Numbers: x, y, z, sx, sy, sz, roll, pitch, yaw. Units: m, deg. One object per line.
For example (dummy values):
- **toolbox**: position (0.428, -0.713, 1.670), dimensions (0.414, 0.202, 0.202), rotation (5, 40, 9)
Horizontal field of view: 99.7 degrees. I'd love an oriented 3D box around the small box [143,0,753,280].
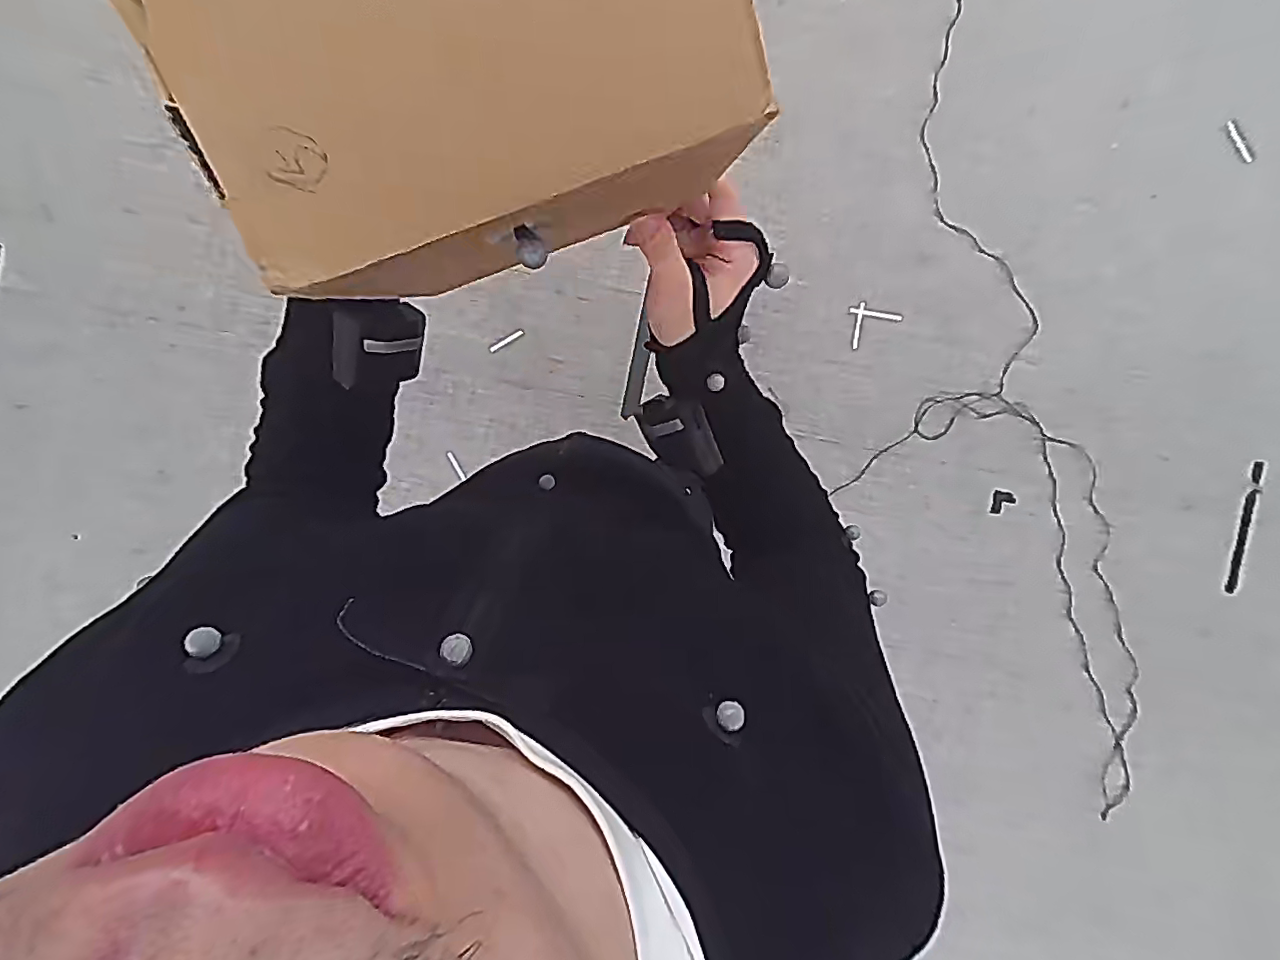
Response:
- **small box**: position (-0.070, -0.193, 0.234), dimensions (0.179, 0.176, 0.168), rotation (-18, 110, 4)
